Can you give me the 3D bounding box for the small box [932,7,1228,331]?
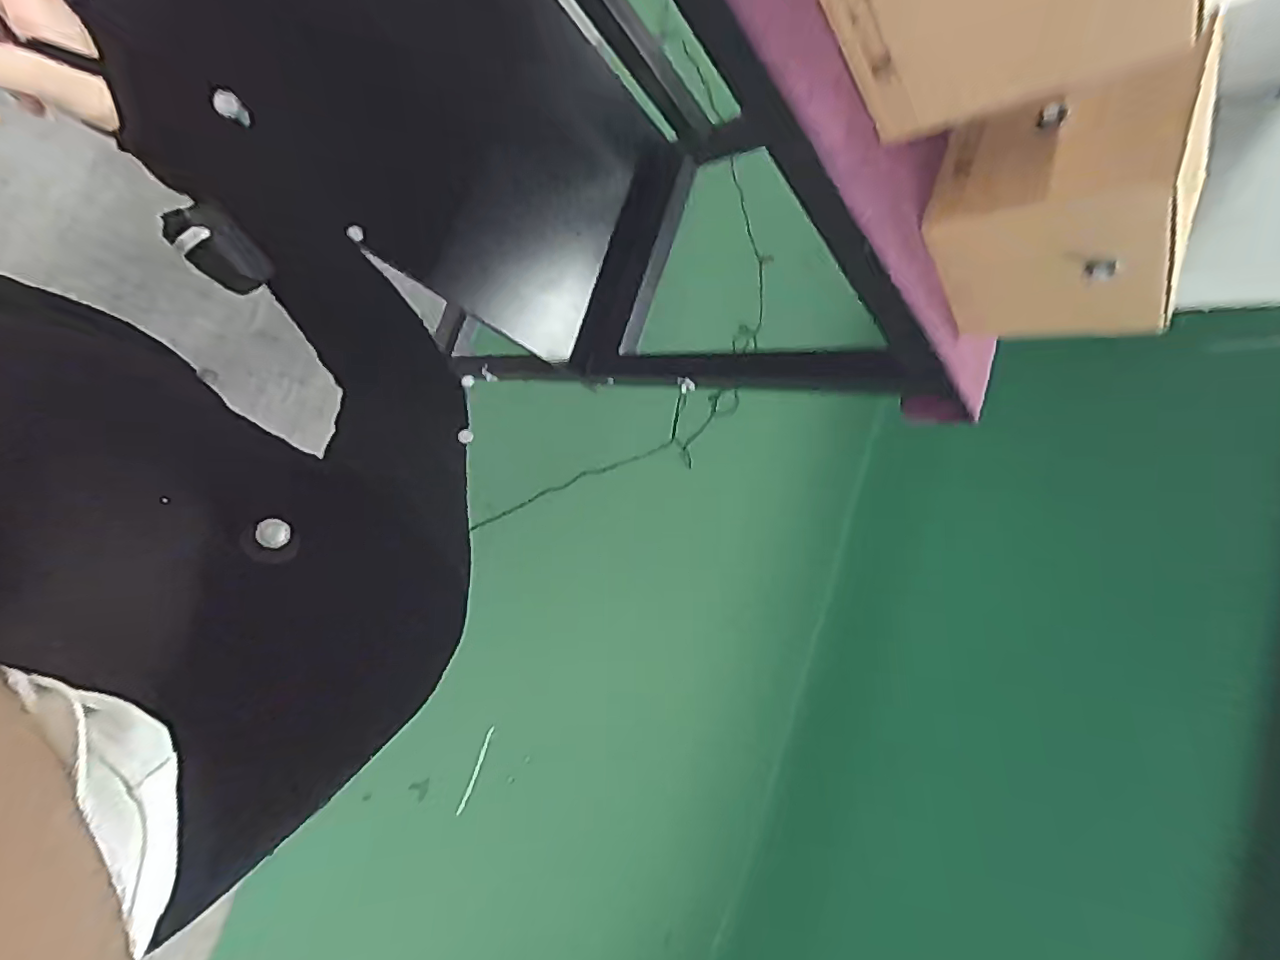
[{"bbox_3d":[0.386,-0.248,0.489,0.179,0.176,0.168,33,77,-43],"label":"small box"}]
